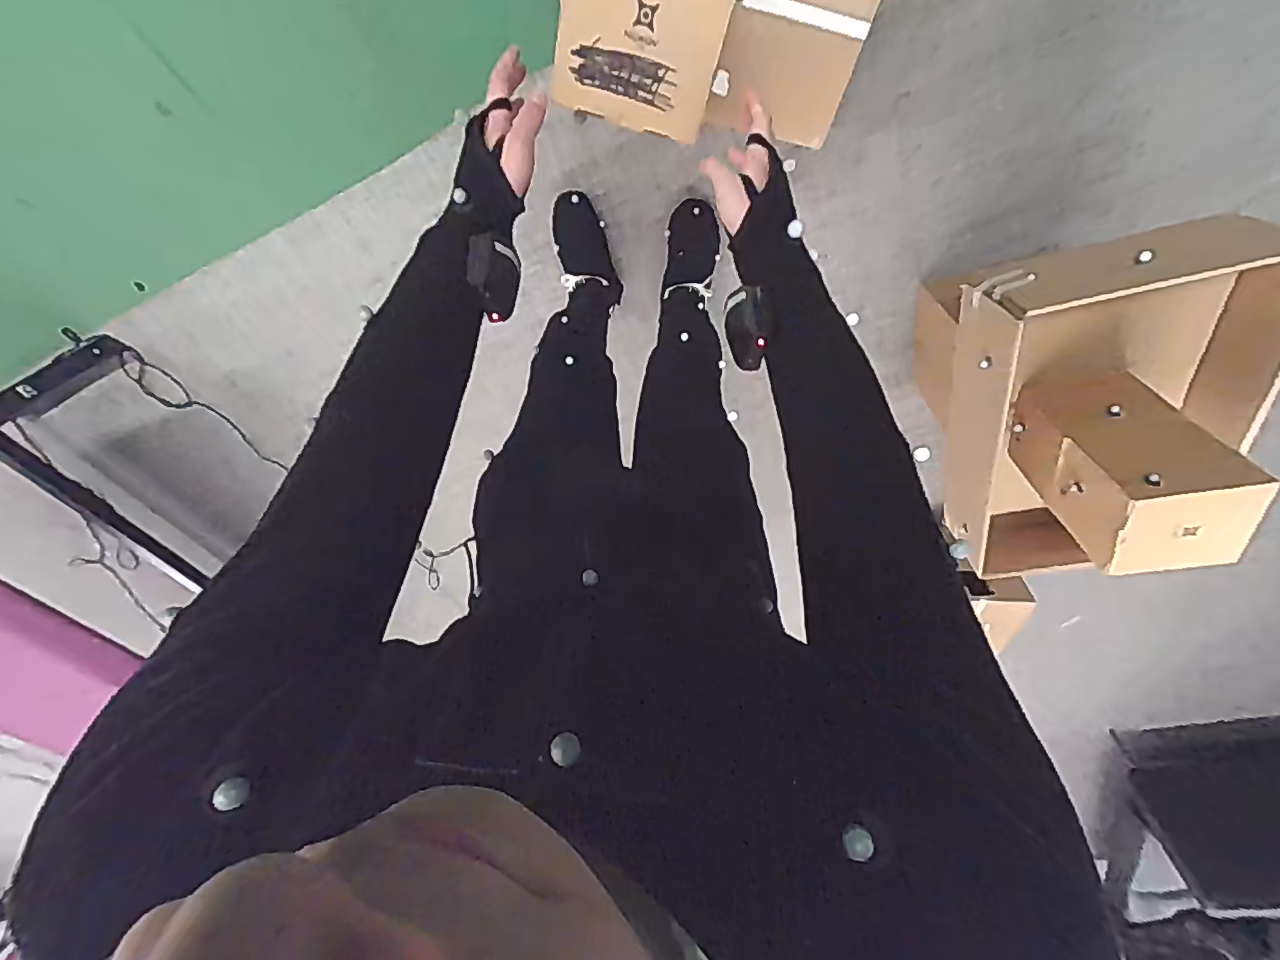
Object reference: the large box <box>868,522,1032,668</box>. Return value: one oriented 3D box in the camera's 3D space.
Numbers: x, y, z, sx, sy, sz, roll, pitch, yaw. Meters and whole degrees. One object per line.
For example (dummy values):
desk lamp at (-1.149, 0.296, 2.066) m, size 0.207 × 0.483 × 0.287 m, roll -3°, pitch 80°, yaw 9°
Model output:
large box at (1.003, 0.393, 1.818) m, size 0.320 × 0.320 × 0.408 m, roll 2°, pitch 129°, yaw 2°

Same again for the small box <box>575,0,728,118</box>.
small box at (0.020, -0.614, 0.714) m, size 0.168 × 0.176 × 0.179 m, roll 13°, pitch 129°, yaw -9°

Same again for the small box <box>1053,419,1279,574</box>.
small box at (0.807, 0.023, 0.854) m, size 0.179 × 0.176 × 0.168 m, roll -10°, pitch 128°, yaw 13°
